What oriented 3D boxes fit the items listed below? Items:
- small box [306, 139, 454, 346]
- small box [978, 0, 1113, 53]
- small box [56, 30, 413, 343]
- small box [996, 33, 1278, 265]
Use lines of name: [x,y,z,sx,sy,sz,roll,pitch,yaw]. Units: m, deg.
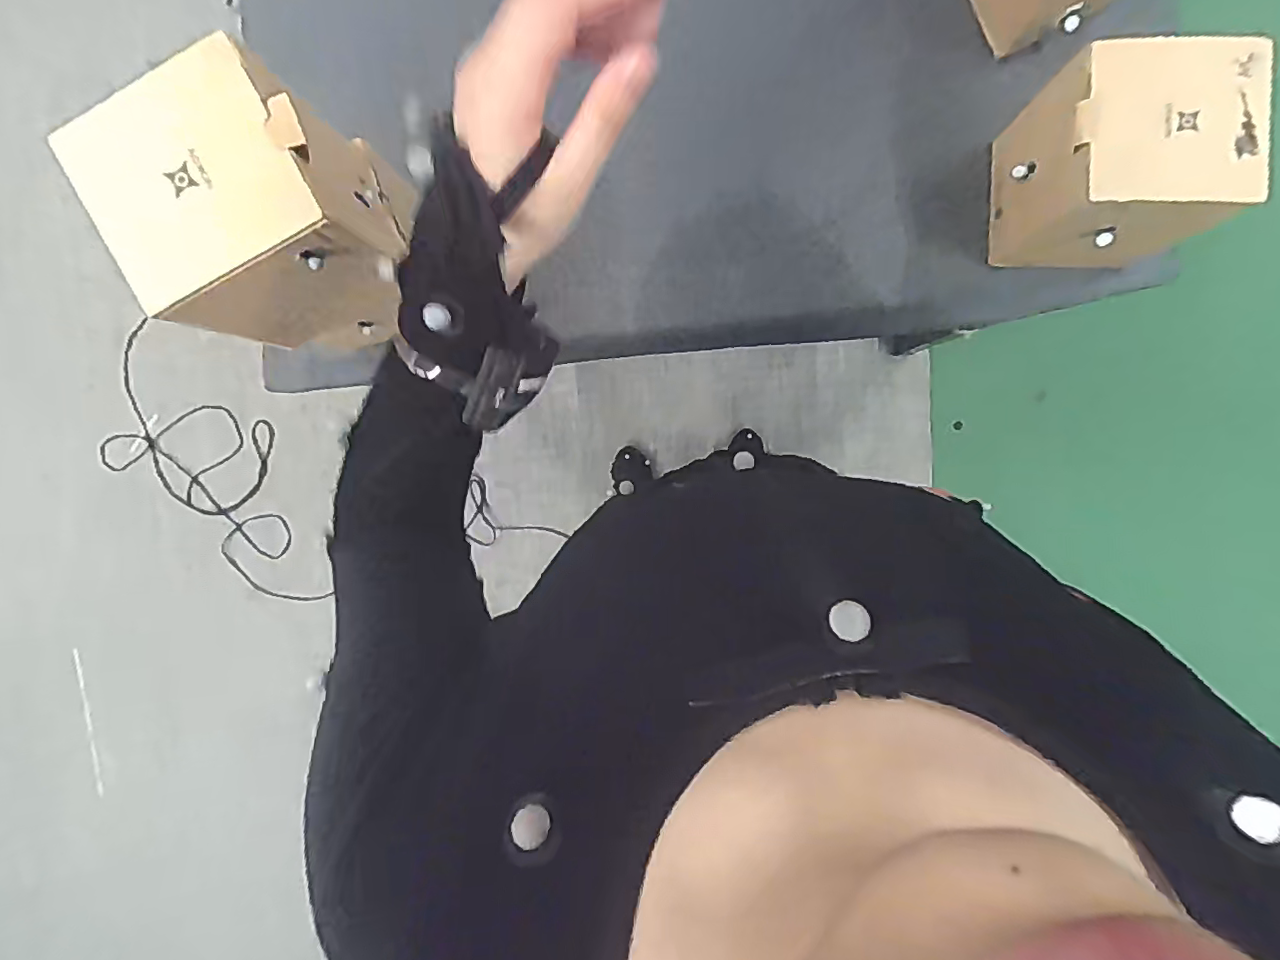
small box: [-0.353,-0.278,0.674,0.179,0.176,0.168,-15,94,5]
small box: [0.490,-0.641,0.598,0.168,0.176,0.179,-26,94,8]
small box: [-0.358,-0.249,0.514,0.179,0.176,0.168,-27,93,4]
small box: [0.539,-0.357,0.613,0.179,0.176,0.168,2,91,4]
